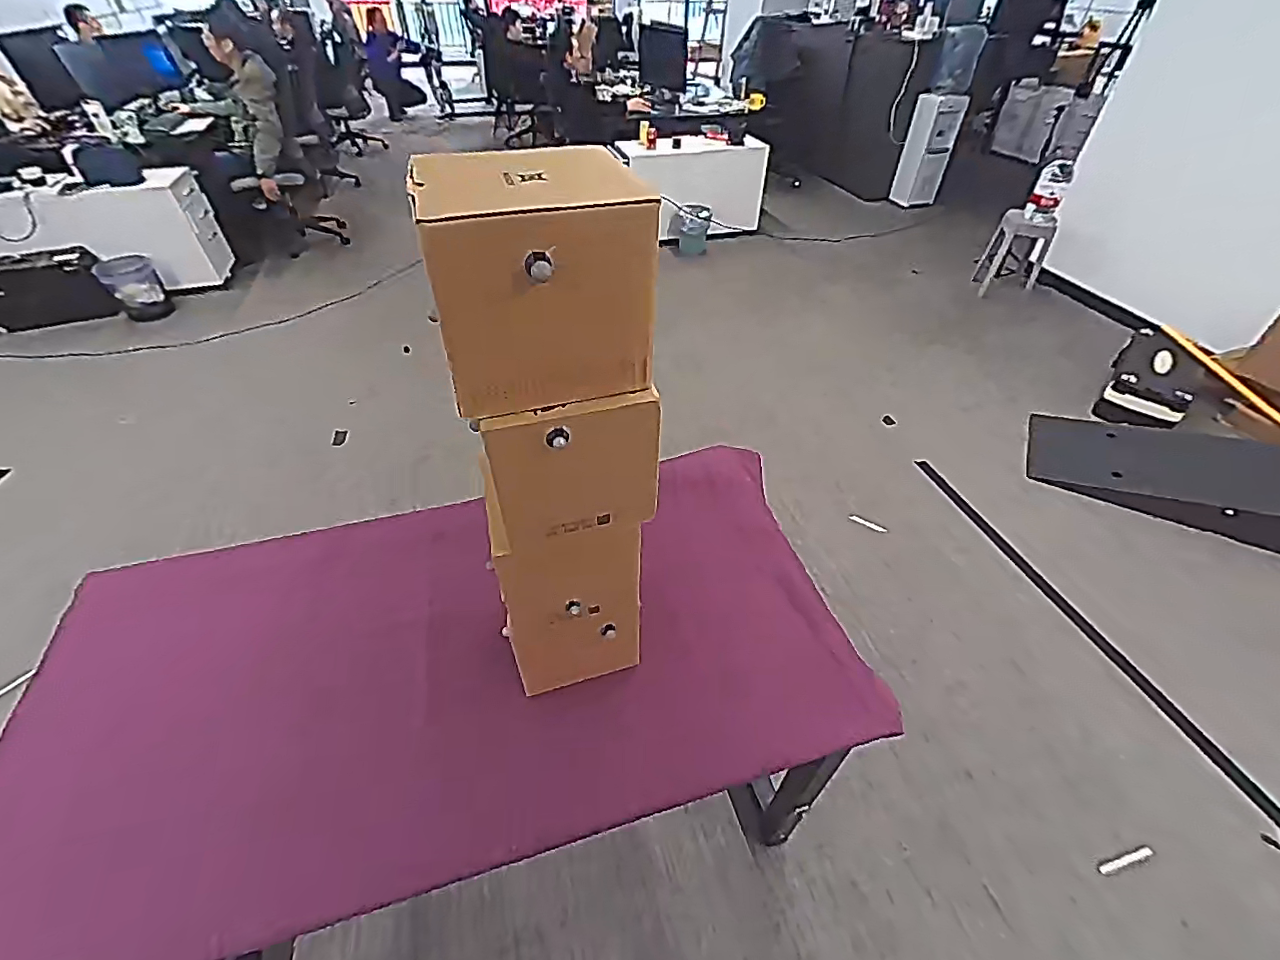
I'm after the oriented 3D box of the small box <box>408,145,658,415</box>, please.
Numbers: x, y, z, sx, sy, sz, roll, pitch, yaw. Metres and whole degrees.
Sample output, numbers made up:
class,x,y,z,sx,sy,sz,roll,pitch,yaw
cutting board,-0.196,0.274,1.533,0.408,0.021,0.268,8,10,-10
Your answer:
class,x,y,z,sx,sy,sz,roll,pitch,yaw
small box,-0.094,-0.181,0.486,0.179,0.176,0.168,-13,45,-13

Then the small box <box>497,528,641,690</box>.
class,x,y,z,sx,sy,sz,roll,pitch,yaw
small box,-0.106,0.186,0.813,0.179,0.176,0.168,-13,44,-13

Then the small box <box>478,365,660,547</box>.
class,x,y,z,sx,sy,sz,roll,pitch,yaw
small box,-0.085,-0.056,0.592,0.168,0.176,0.179,-12,45,-13
